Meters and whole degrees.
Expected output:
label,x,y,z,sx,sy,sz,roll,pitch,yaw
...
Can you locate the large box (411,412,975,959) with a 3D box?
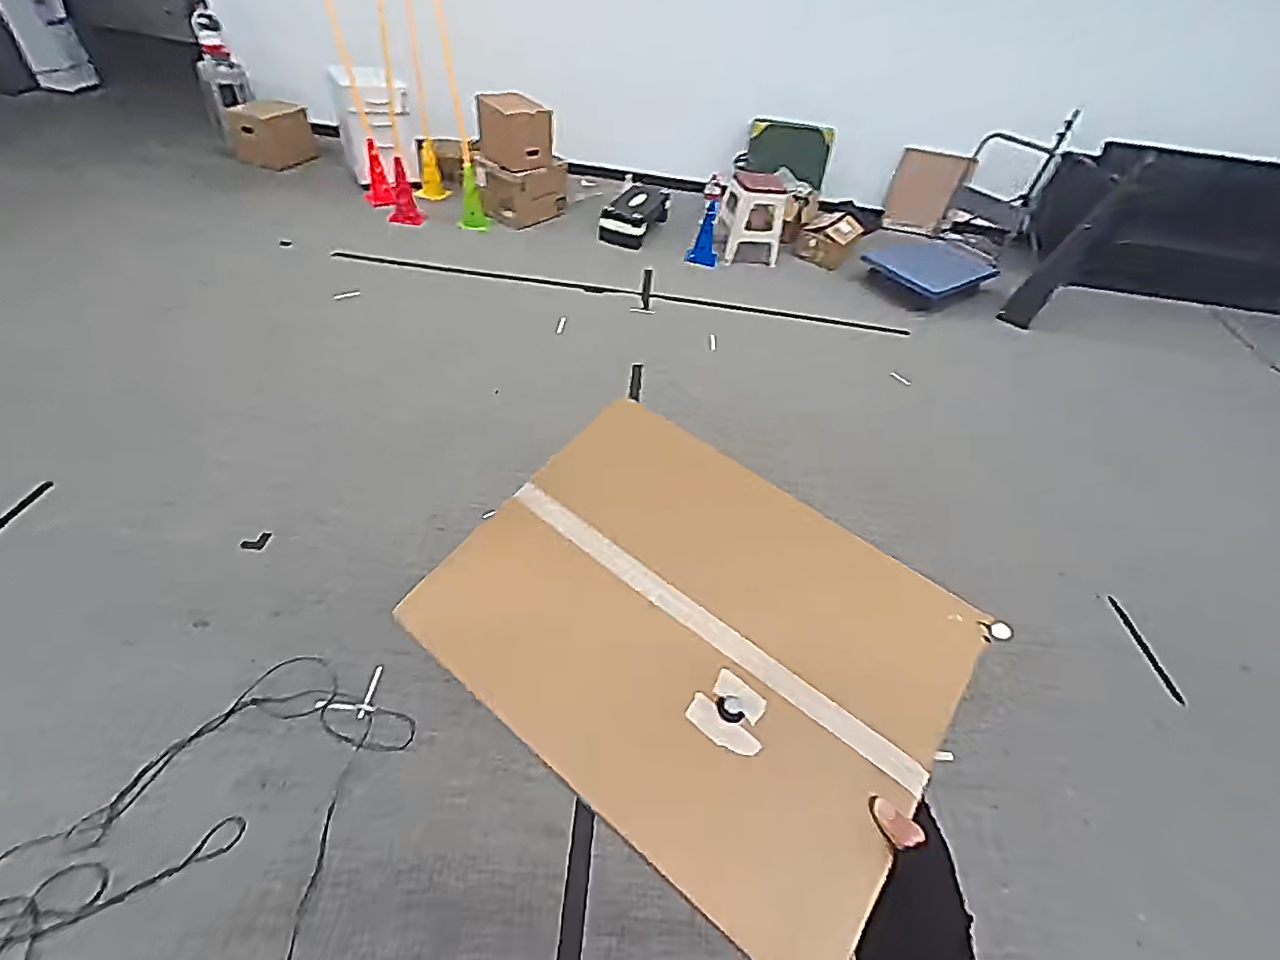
label,x,y,z,sx,sy,sz,roll,pitch,yaw
large box,0.044,0.201,0.593,0.408,0.320,0.320,33,62,19
